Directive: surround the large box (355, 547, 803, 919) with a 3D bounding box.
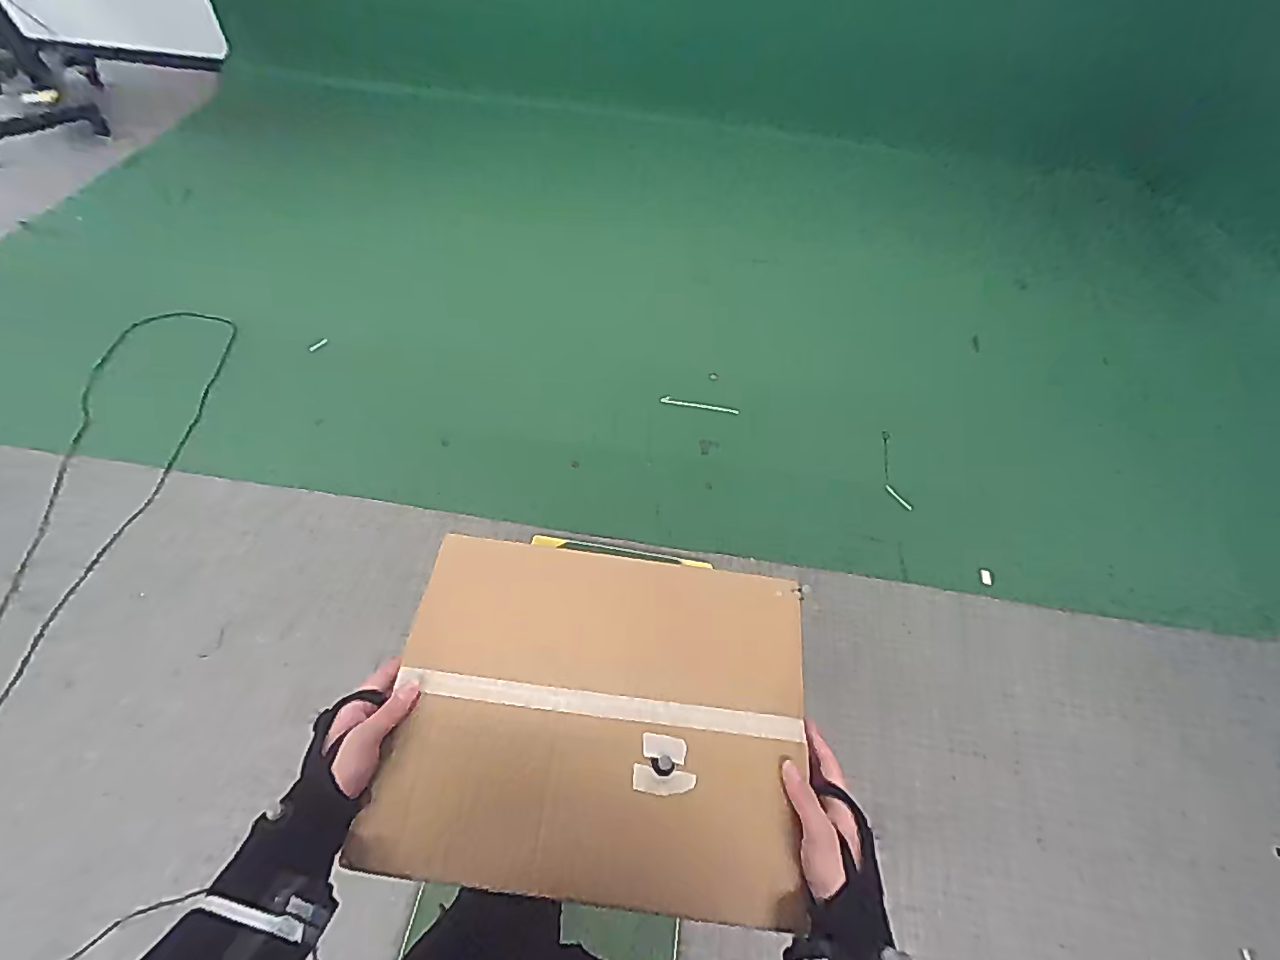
[{"bbox_3d":[-0.050,0.305,0.673,0.408,0.320,0.320,8,60,0],"label":"large box"}]
